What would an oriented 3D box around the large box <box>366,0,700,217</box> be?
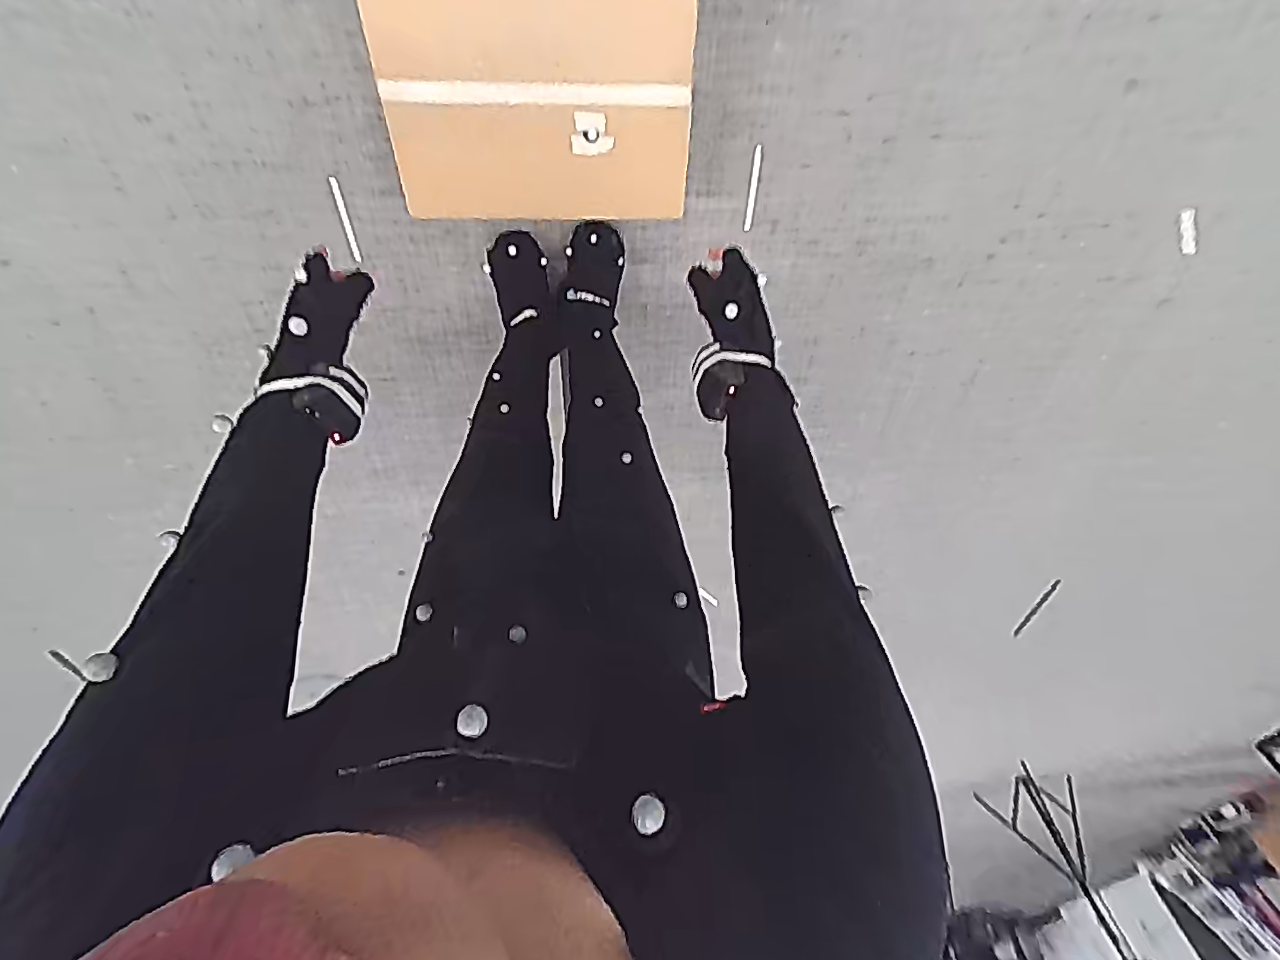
[{"bbox_3d":[-0.141,-0.610,0.814,0.408,0.320,0.320,-3,133,-5],"label":"large box"}]
